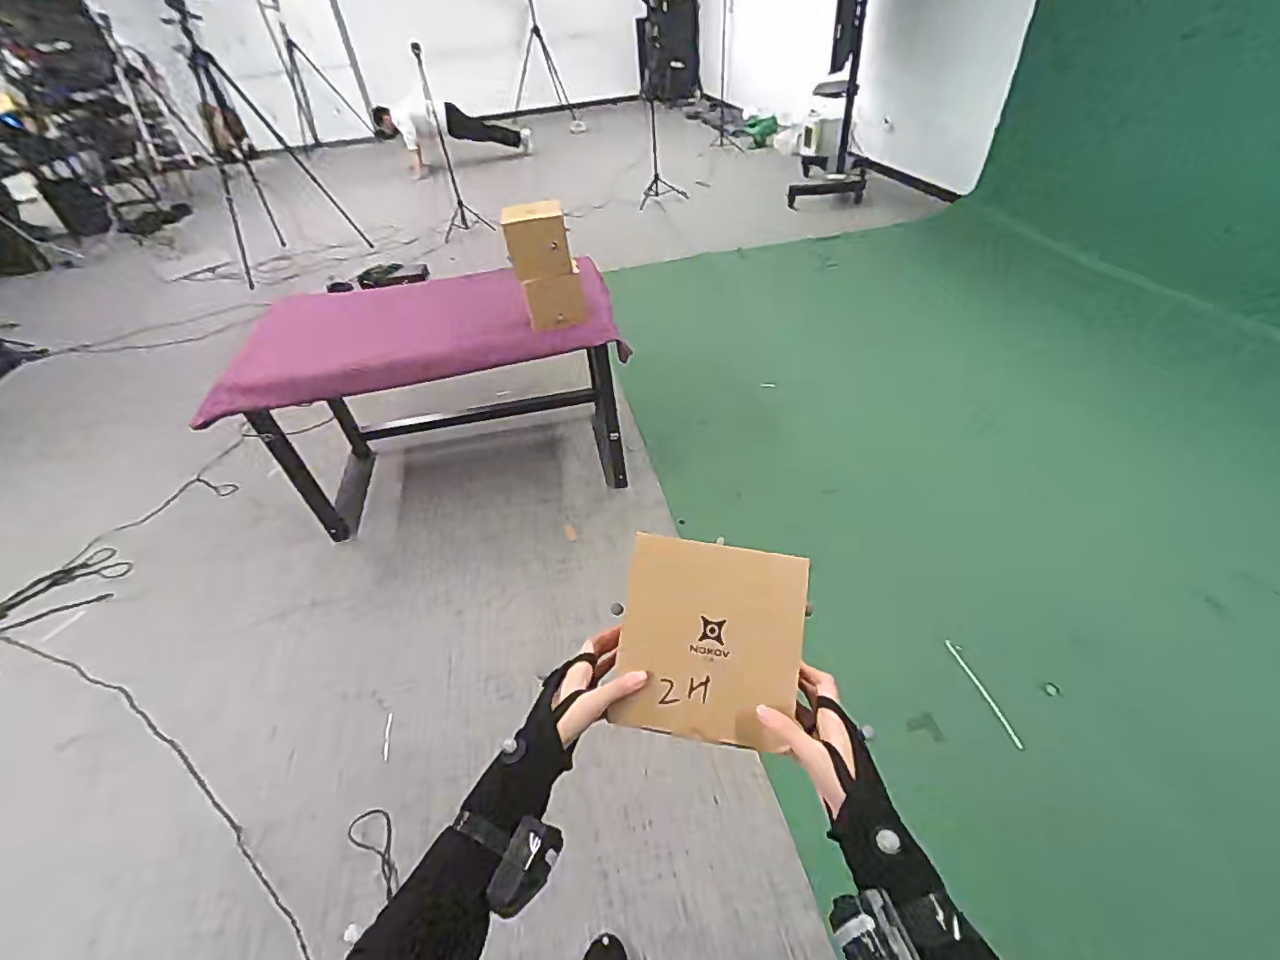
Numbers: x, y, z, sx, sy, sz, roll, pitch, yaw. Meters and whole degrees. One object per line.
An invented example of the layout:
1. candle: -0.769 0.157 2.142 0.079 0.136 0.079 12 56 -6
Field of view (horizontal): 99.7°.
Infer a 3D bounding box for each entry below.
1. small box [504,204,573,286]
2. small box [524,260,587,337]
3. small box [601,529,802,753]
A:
1. small box: -0.299 -0.702 1.619 0.179 0.176 0.168 -11 42 -3
2. small box: -0.270 -0.579 1.723 0.179 0.176 0.168 -14 42 -8
3. small box: 0.061 0.159 0.571 0.168 0.176 0.179 8 79 5
